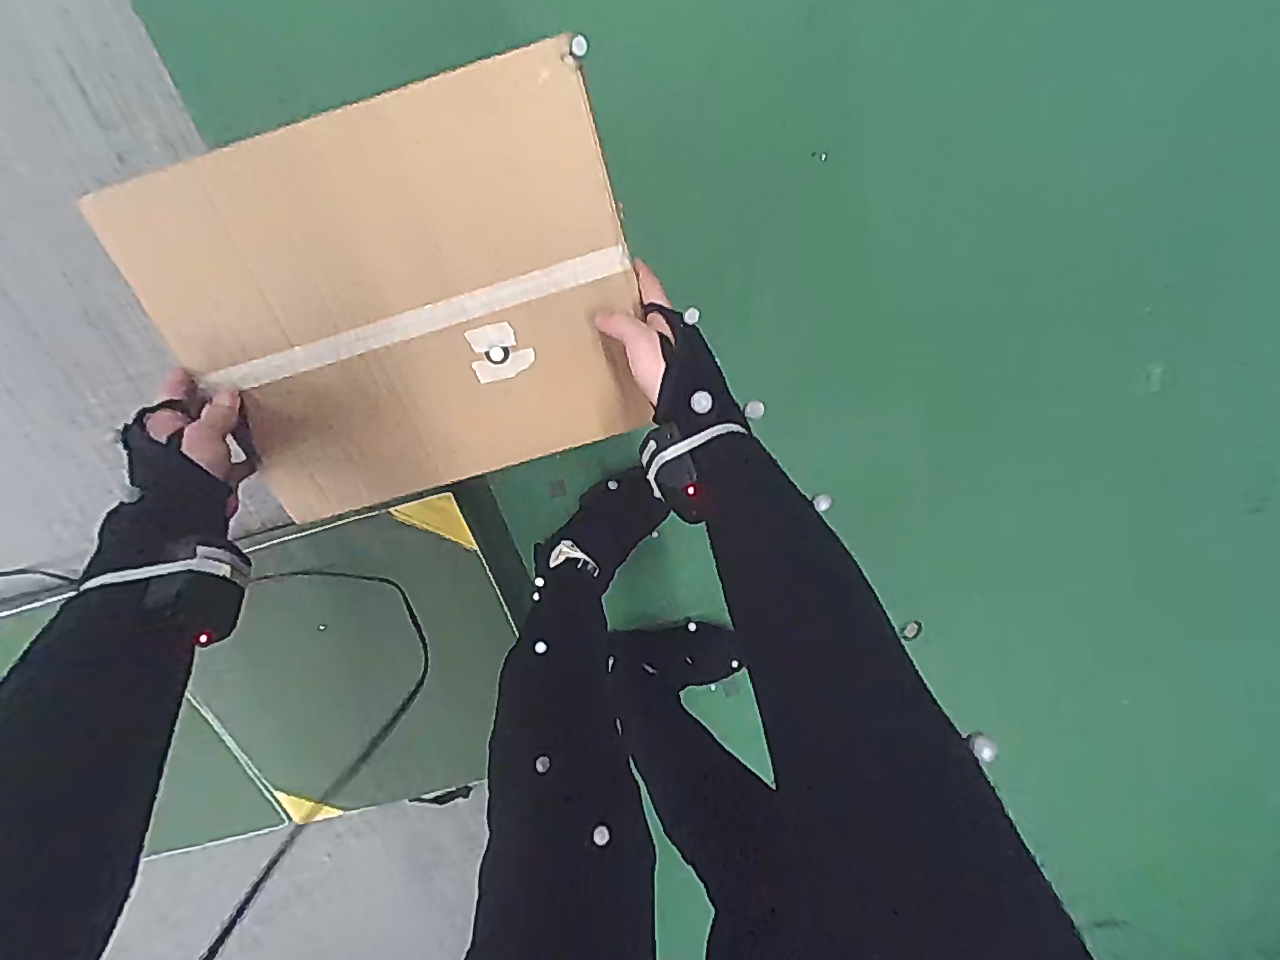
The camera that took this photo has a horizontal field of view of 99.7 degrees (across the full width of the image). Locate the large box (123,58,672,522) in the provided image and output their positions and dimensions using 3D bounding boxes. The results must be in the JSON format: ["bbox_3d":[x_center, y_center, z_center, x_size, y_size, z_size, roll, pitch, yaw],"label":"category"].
[{"bbox_3d":[-0.210,-0.204,0.628,0.408,0.320,0.320,-16,117,3],"label":"large box"}]
